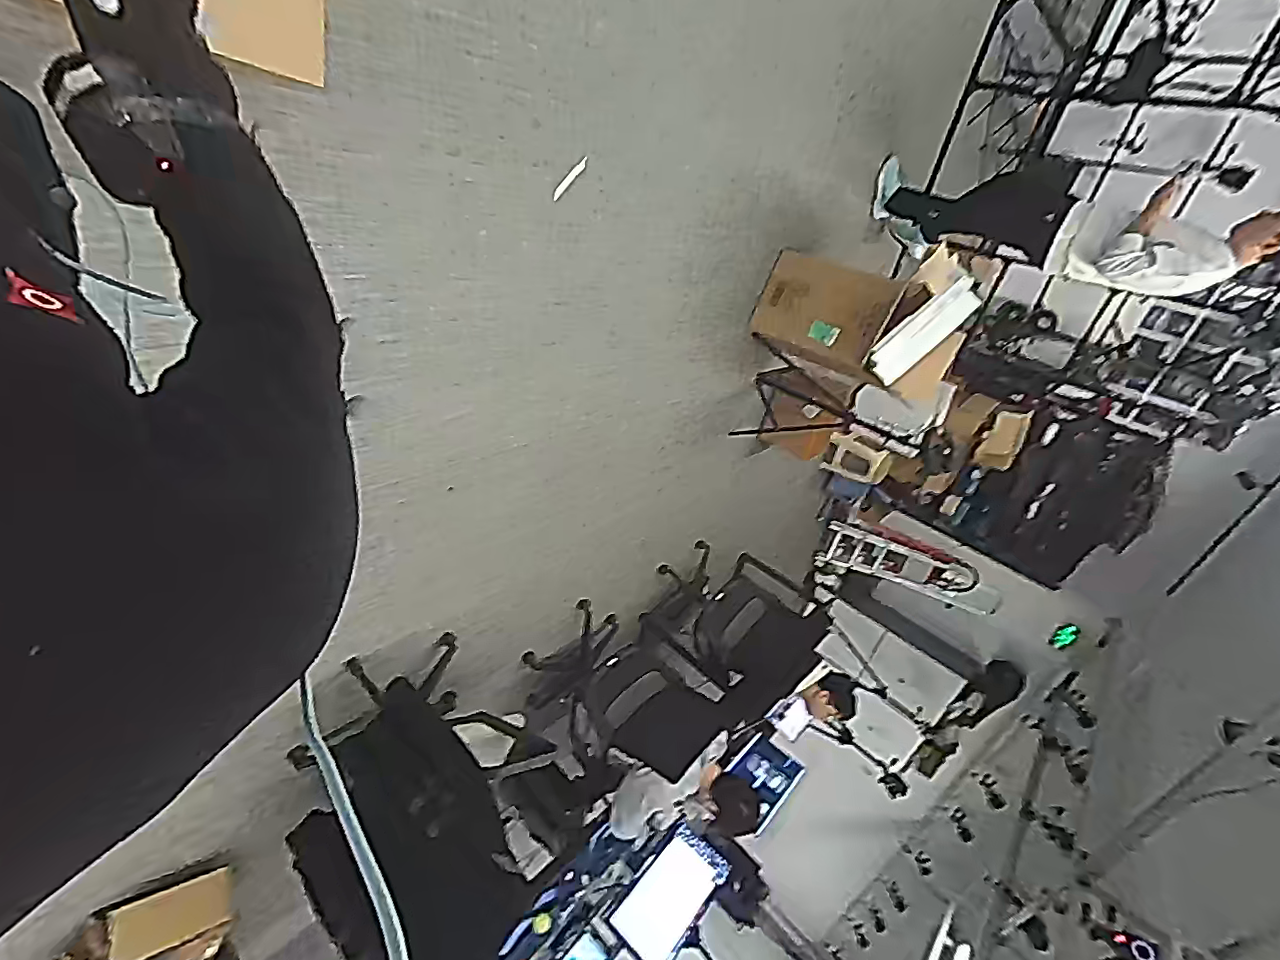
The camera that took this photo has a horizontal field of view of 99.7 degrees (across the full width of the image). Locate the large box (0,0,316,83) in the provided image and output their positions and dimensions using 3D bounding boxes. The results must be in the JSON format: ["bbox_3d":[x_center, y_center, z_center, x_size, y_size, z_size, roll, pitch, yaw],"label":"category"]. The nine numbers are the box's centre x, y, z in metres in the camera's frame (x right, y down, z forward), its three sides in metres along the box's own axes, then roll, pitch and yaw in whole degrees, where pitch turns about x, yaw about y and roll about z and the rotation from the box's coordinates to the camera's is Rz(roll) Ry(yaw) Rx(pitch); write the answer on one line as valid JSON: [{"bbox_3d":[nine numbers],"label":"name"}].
[{"bbox_3d":[-0.710,-0.777,0.709,0.408,0.320,0.320,-17,131,-49],"label":"large box"}]
